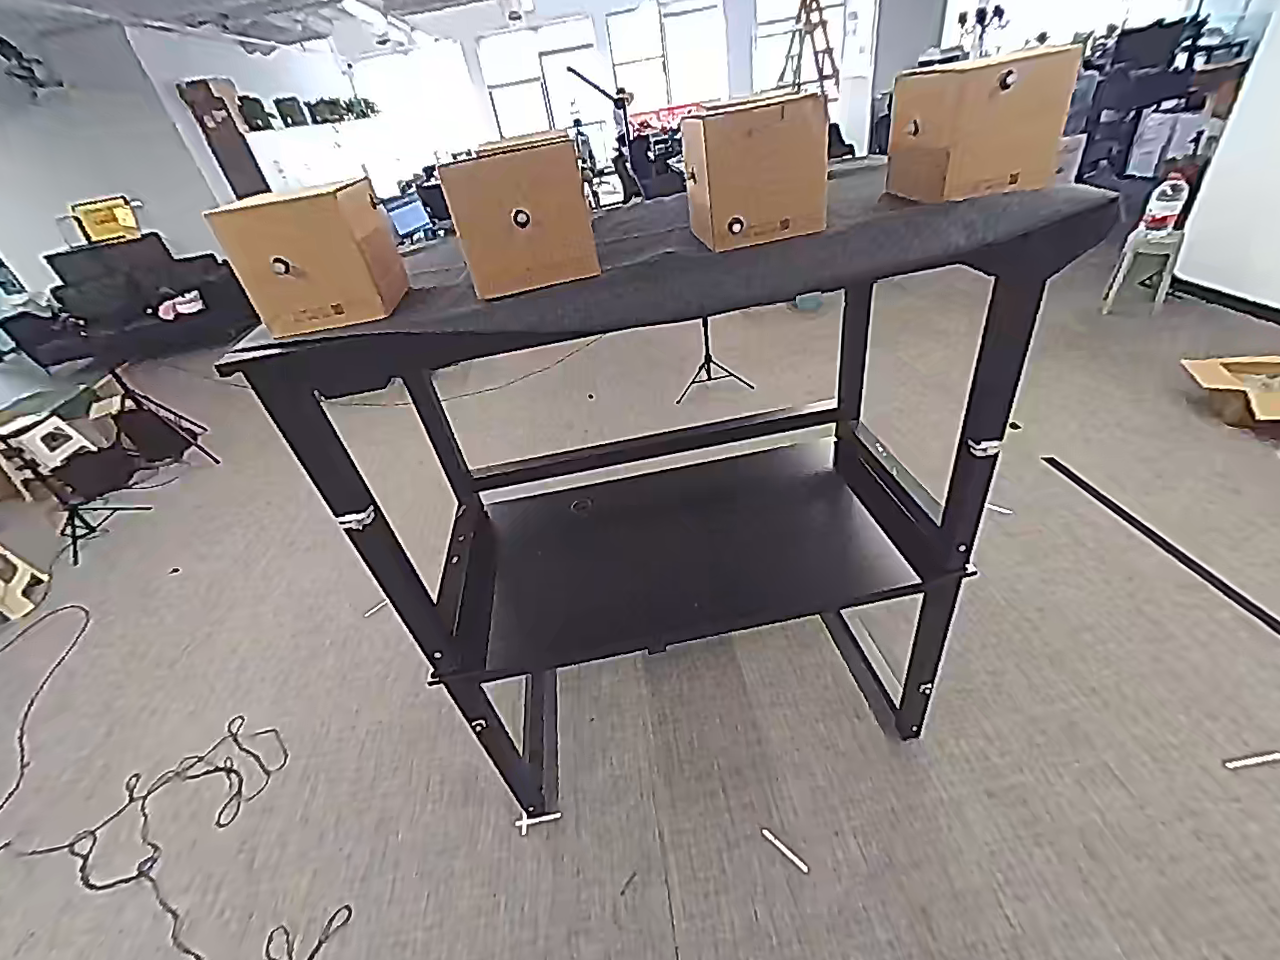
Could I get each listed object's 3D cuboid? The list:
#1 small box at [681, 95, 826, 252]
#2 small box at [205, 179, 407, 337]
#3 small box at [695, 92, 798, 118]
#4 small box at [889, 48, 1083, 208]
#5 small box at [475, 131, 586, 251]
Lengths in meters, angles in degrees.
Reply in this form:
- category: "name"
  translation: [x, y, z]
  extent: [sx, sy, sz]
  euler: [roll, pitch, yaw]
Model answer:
- category: "small box"
  translation: [0.163, -0.448, 0.798]
  extent: [0.168, 0.176, 0.179]
  euler: [-11, 33, 0]
- category: "small box"
  translation: [-0.460, -0.318, 0.783]
  extent: [0.168, 0.176, 0.179]
  euler: [-12, 35, -3]
- category: "small box"
  translation: [0.204, -0.633, 1.048]
  extent: [0.168, 0.176, 0.179]
  euler: [-7, 35, 3]
- category: "small box"
  translation: [0.496, -0.519, 0.810]
  extent: [0.168, 0.176, 0.179]
  euler: [-12, 35, 0]
- category: "small box"
  translation: [-0.200, -0.548, 1.031]
  extent: [0.168, 0.176, 0.179]
  euler: [-11, 36, -2]
